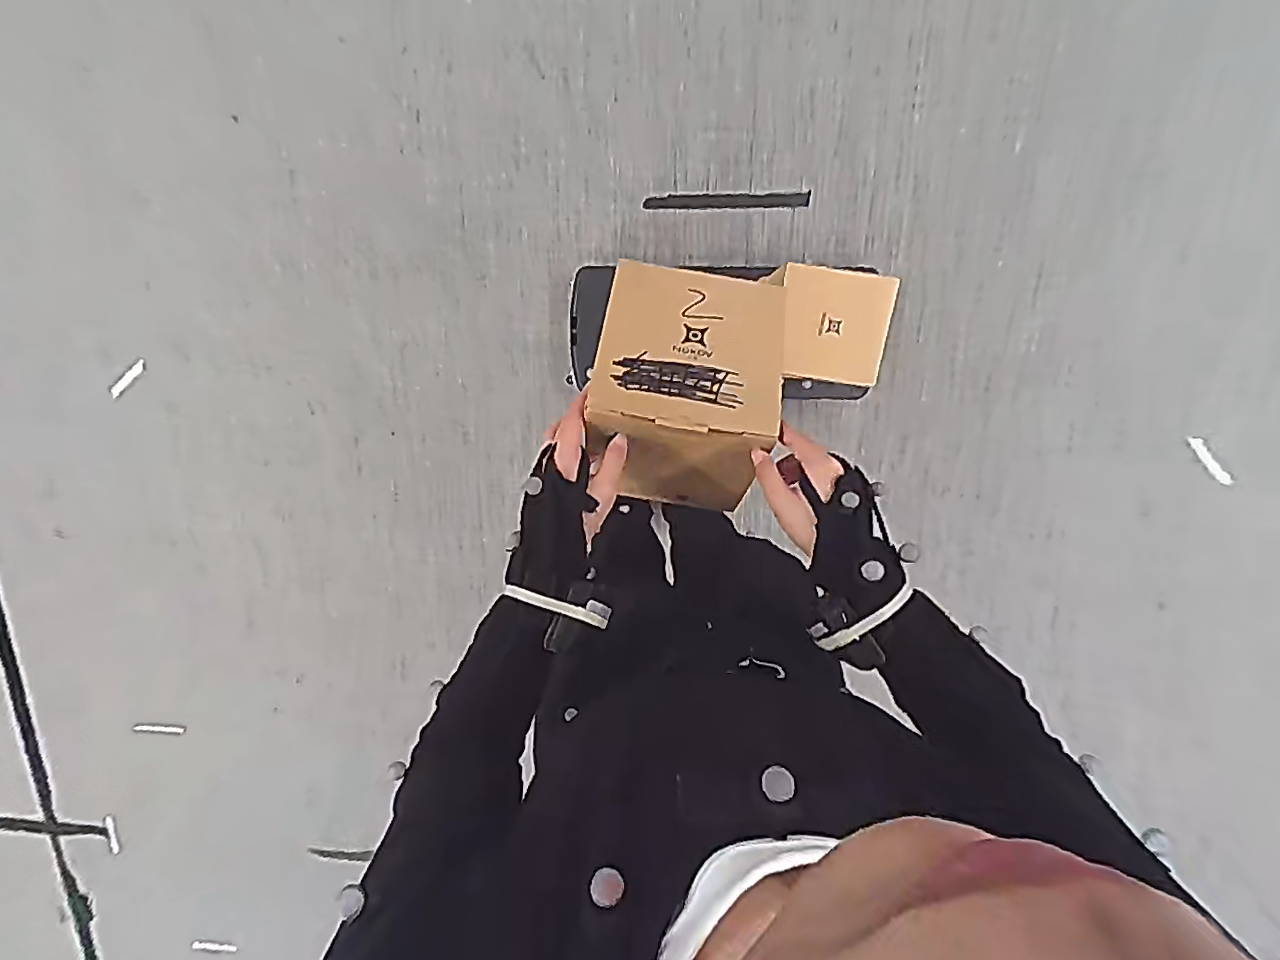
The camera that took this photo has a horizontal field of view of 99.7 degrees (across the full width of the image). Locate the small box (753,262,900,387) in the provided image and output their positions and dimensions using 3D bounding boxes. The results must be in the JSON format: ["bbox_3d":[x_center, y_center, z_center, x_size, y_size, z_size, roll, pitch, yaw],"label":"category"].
[{"bbox_3d":[0.298,-0.256,0.906,0.179,0.176,0.168,9,104,2],"label":"small box"}]

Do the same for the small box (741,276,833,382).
[{"bbox_3d":[0.297,-0.293,1.065,0.168,0.176,0.179,6,103,2],"label":"small box"}]
